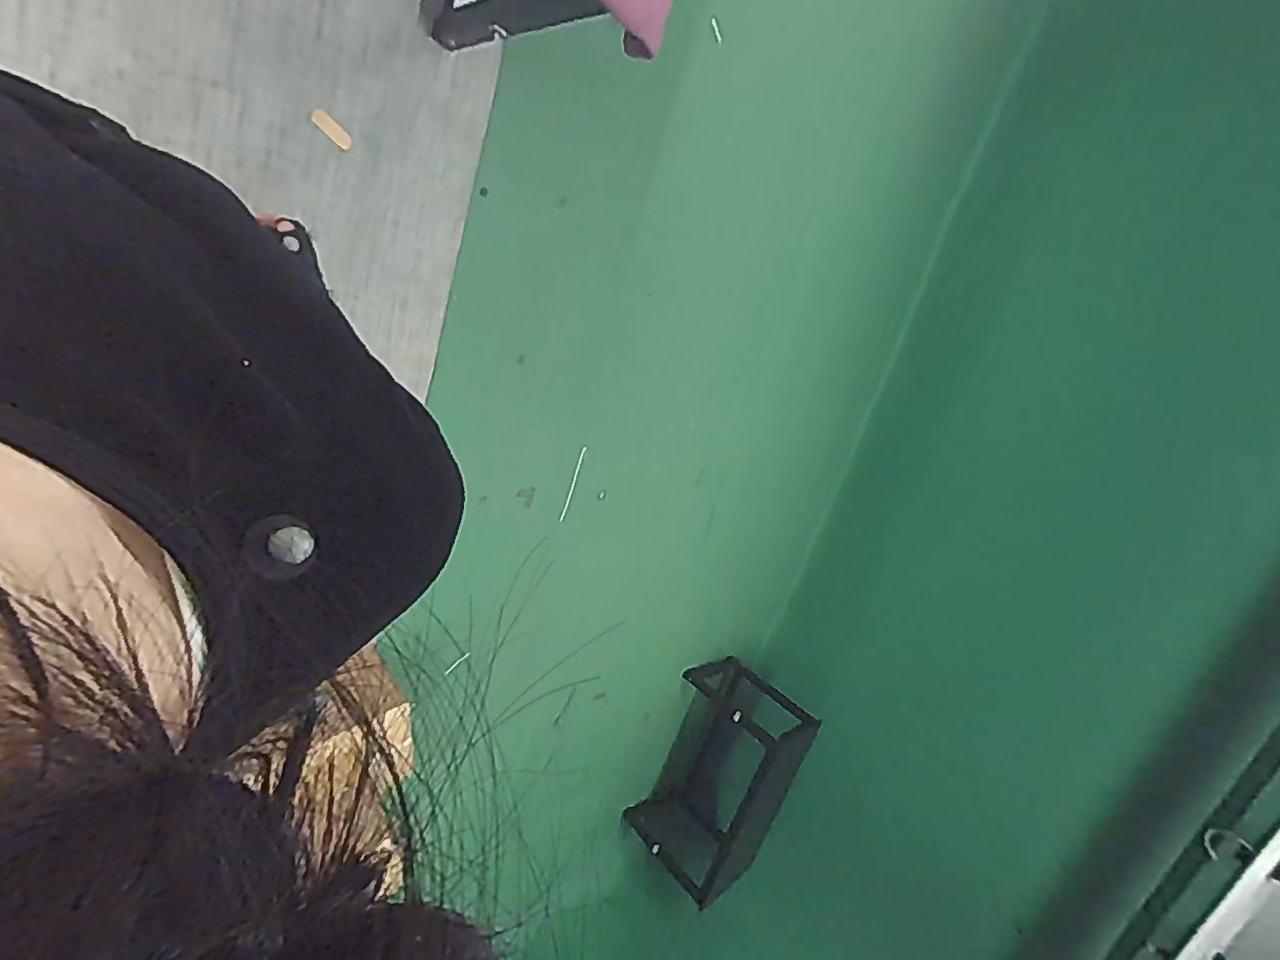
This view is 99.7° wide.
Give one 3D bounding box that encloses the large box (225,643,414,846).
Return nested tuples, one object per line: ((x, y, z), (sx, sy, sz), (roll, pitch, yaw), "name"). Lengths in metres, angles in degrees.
((-0.951, 0.768, 1.632), (0.408, 0.320, 0.320), (-16, 125, -42), "large box")

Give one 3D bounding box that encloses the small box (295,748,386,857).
((-0.807, 0.870, 1.460), (0.179, 0.176, 0.168), (-11, 119, -43), "small box")

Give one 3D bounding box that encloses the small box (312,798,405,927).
((-0.705, 0.937, 1.351), (0.168, 0.176, 0.179), (-9, 118, -44), "small box")
